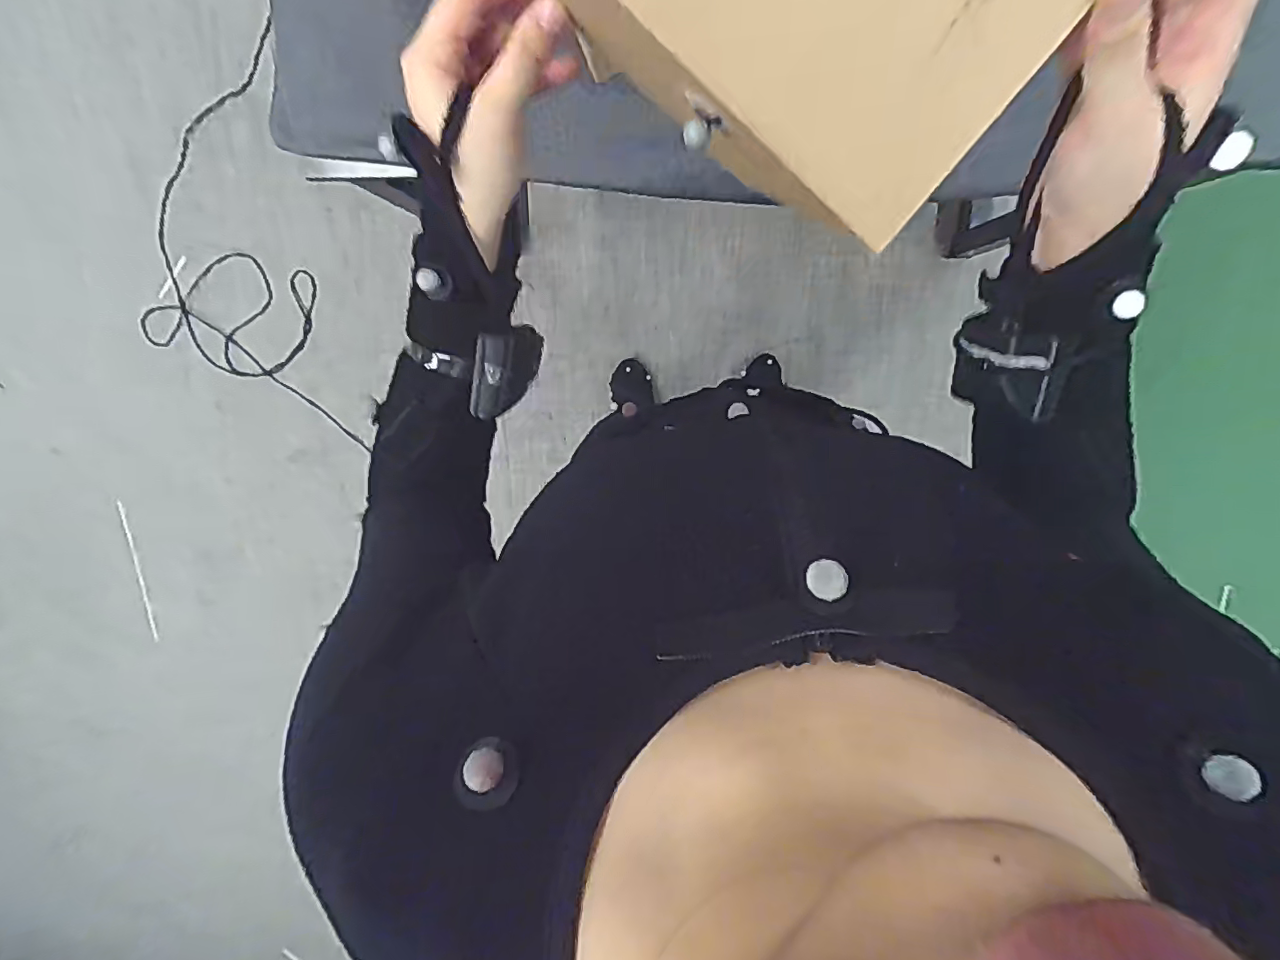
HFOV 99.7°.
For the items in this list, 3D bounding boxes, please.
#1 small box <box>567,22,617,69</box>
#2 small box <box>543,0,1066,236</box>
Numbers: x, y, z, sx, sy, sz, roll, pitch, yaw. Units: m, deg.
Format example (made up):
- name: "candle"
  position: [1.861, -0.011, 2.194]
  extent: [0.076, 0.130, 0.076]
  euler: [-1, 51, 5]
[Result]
- name: "small box"
  position: [-0.018, -0.557, 0.536]
  extent: [0.168, 0.176, 0.179]
  euler: [-23, 100, 8]
- name: "small box"
  position: [0.062, -0.244, 0.230]
  extent: [0.179, 0.176, 0.168]
  euler: [22, 121, -31]
